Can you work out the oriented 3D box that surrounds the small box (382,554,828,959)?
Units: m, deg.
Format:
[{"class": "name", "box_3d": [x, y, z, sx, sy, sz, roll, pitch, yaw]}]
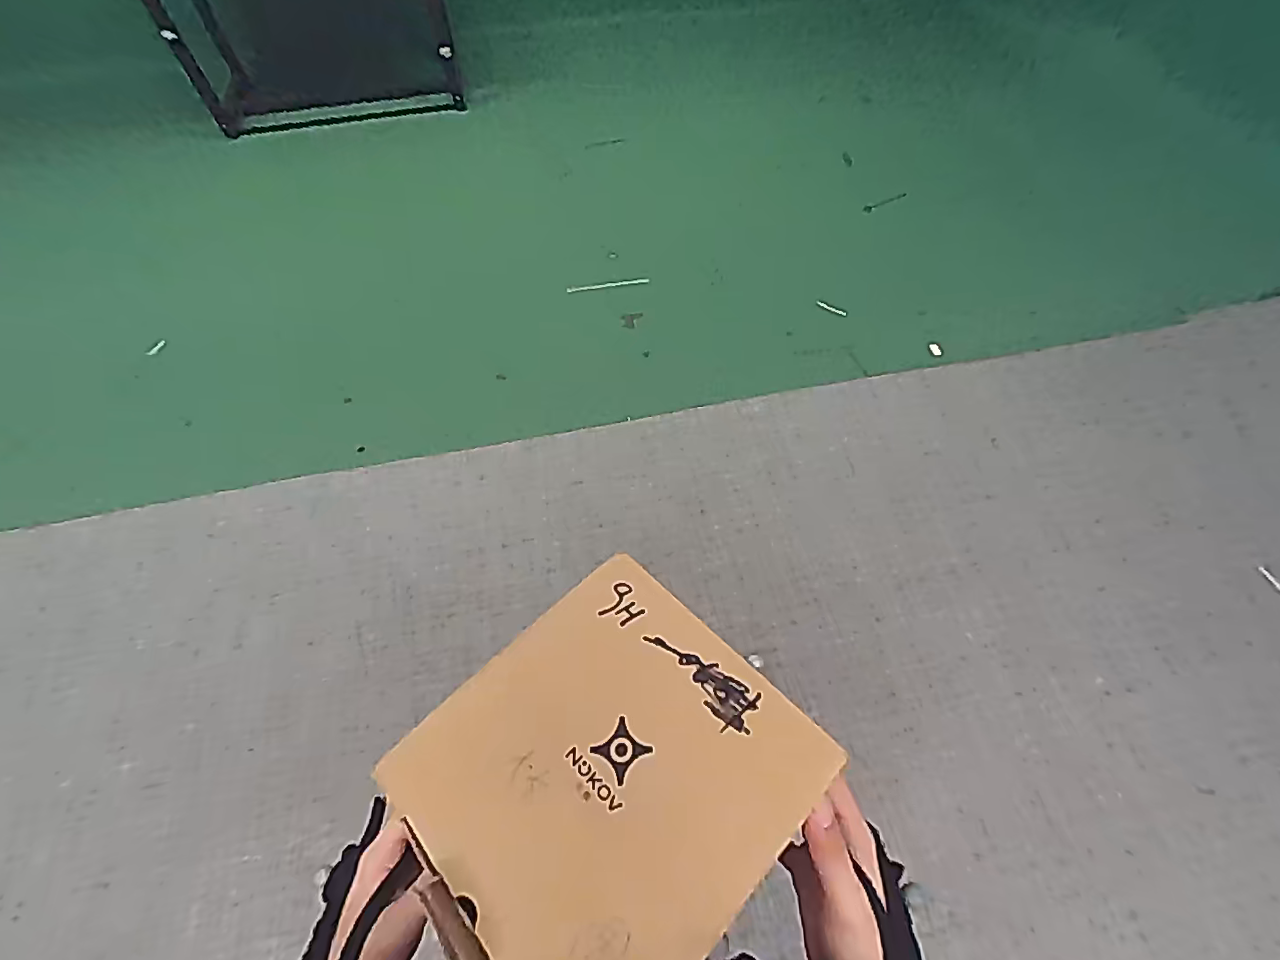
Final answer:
[{"class": "small box", "box_3d": [-0.014, 0.188, 0.340, 0.179, 0.176, 0.168, -40, 61, -22]}]
